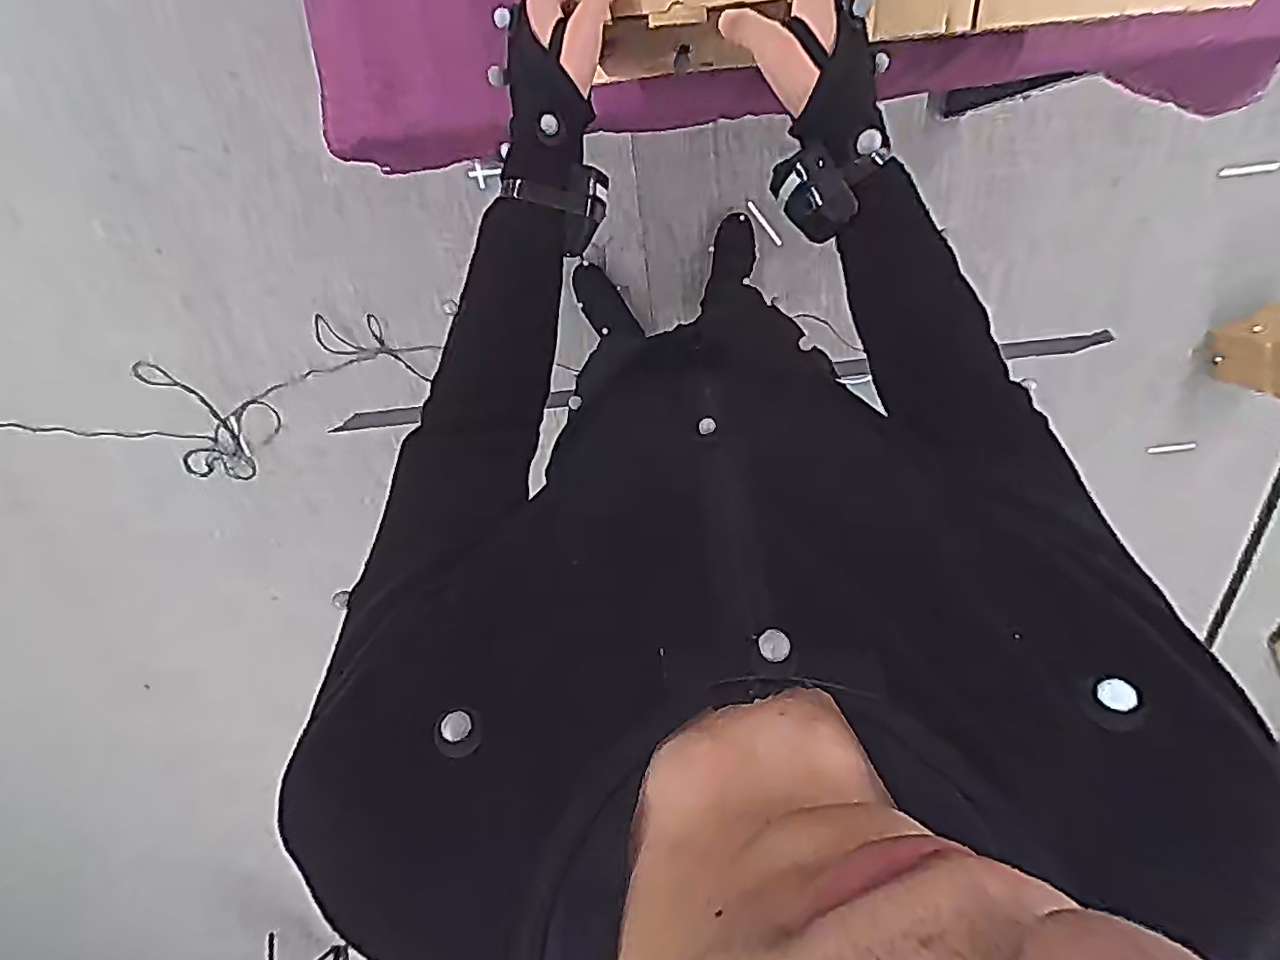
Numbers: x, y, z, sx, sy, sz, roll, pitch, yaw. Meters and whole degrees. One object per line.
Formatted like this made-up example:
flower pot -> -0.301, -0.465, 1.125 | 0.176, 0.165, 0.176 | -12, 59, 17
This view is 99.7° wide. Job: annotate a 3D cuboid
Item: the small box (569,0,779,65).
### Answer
small box -> 0.032, -0.468, 0.447 | 0.168, 0.176, 0.179 | 0, 116, 7
